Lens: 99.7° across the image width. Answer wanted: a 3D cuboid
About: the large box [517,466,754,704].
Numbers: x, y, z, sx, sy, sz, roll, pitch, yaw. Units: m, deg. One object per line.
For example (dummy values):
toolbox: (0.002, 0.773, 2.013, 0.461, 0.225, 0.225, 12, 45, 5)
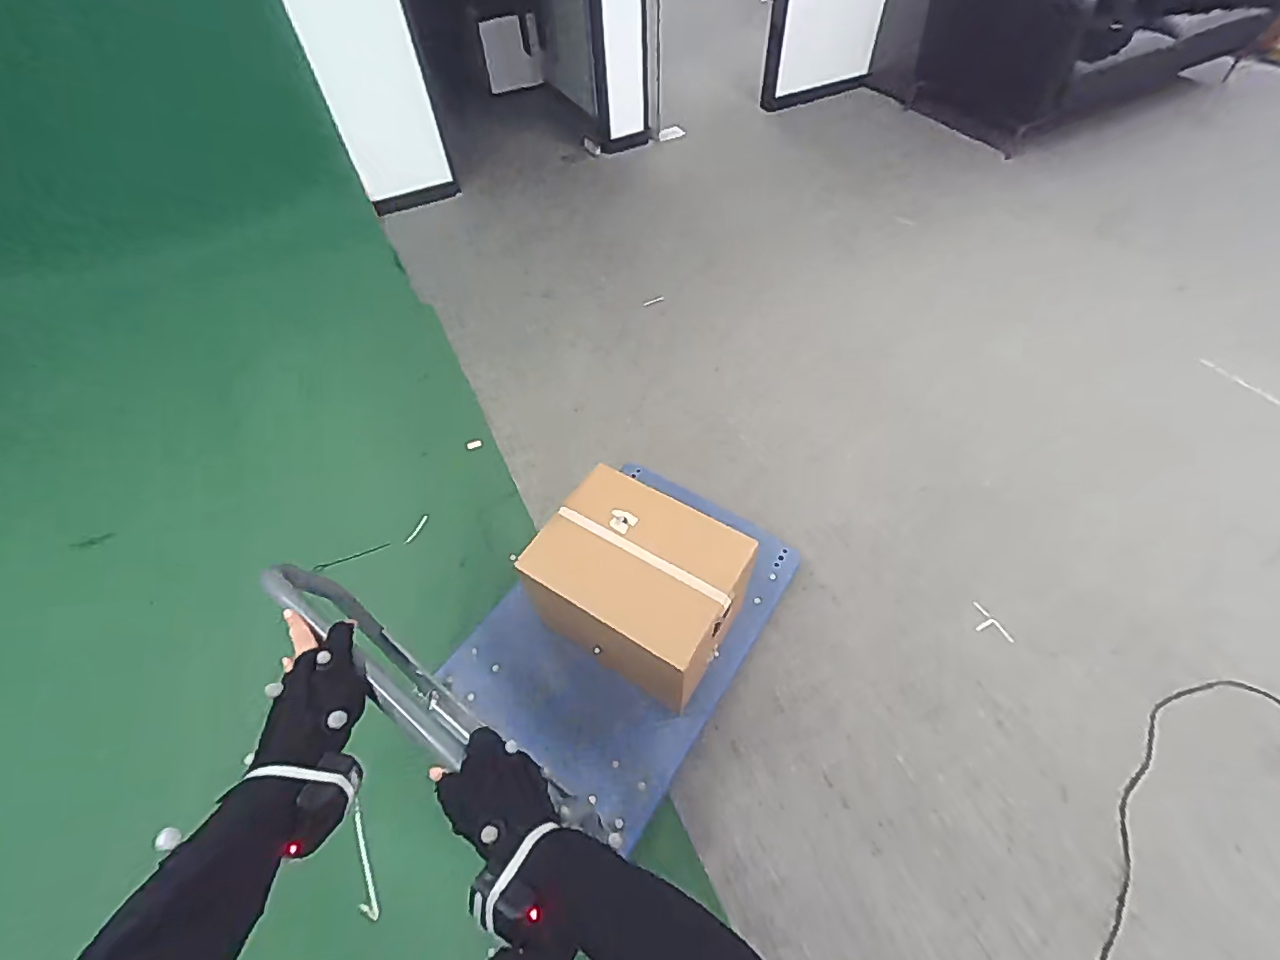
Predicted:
large box: (0.002, 0.238, 1.233, 0.408, 0.320, 0.320, 26, 58, 21)
